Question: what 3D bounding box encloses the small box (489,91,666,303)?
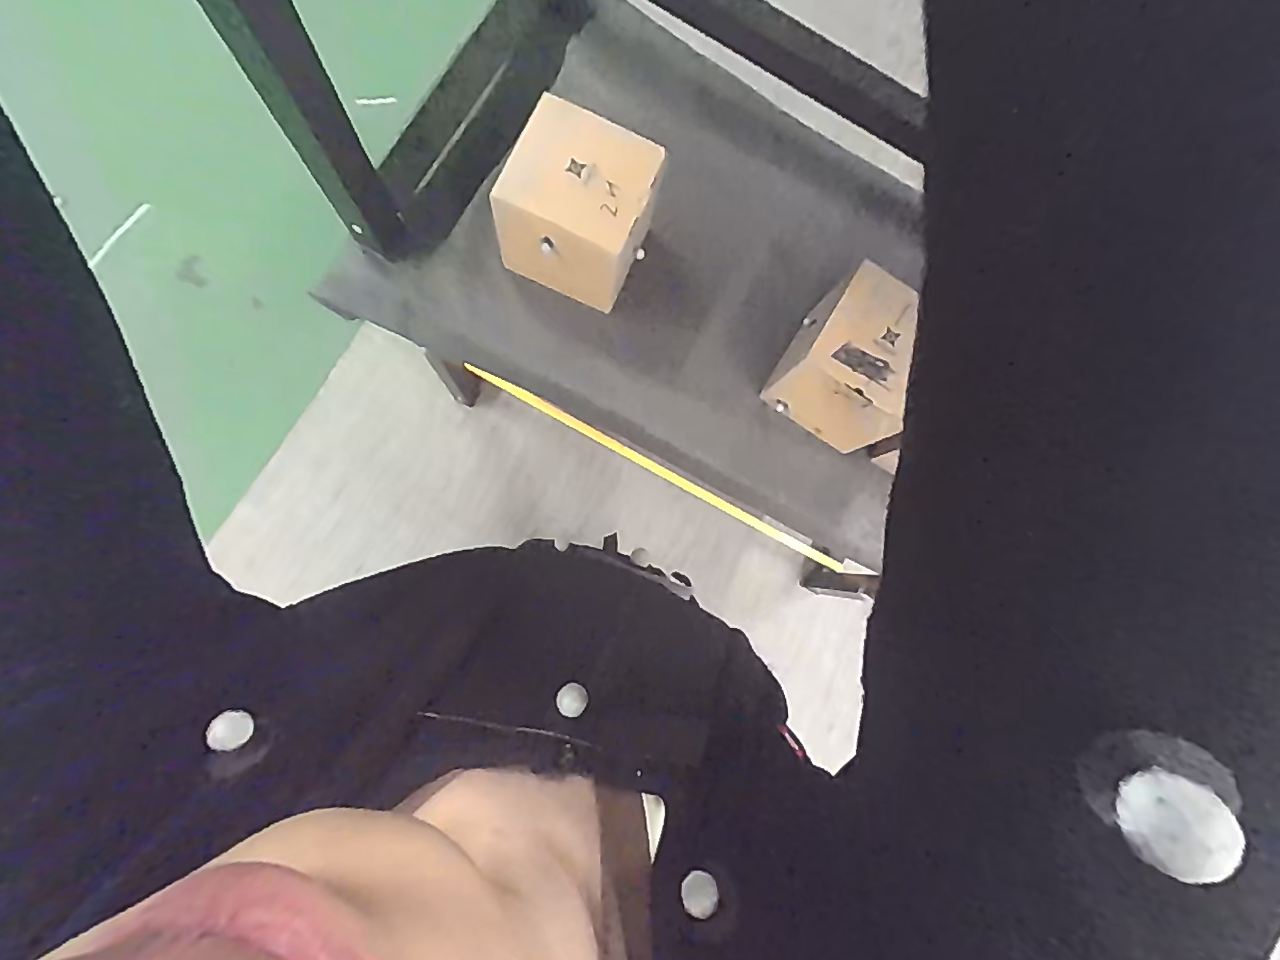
[{"bbox_3d":[-0.087,-0.378,0.757,0.179,0.176,0.168,24,80,-5],"label":"small box"}]
